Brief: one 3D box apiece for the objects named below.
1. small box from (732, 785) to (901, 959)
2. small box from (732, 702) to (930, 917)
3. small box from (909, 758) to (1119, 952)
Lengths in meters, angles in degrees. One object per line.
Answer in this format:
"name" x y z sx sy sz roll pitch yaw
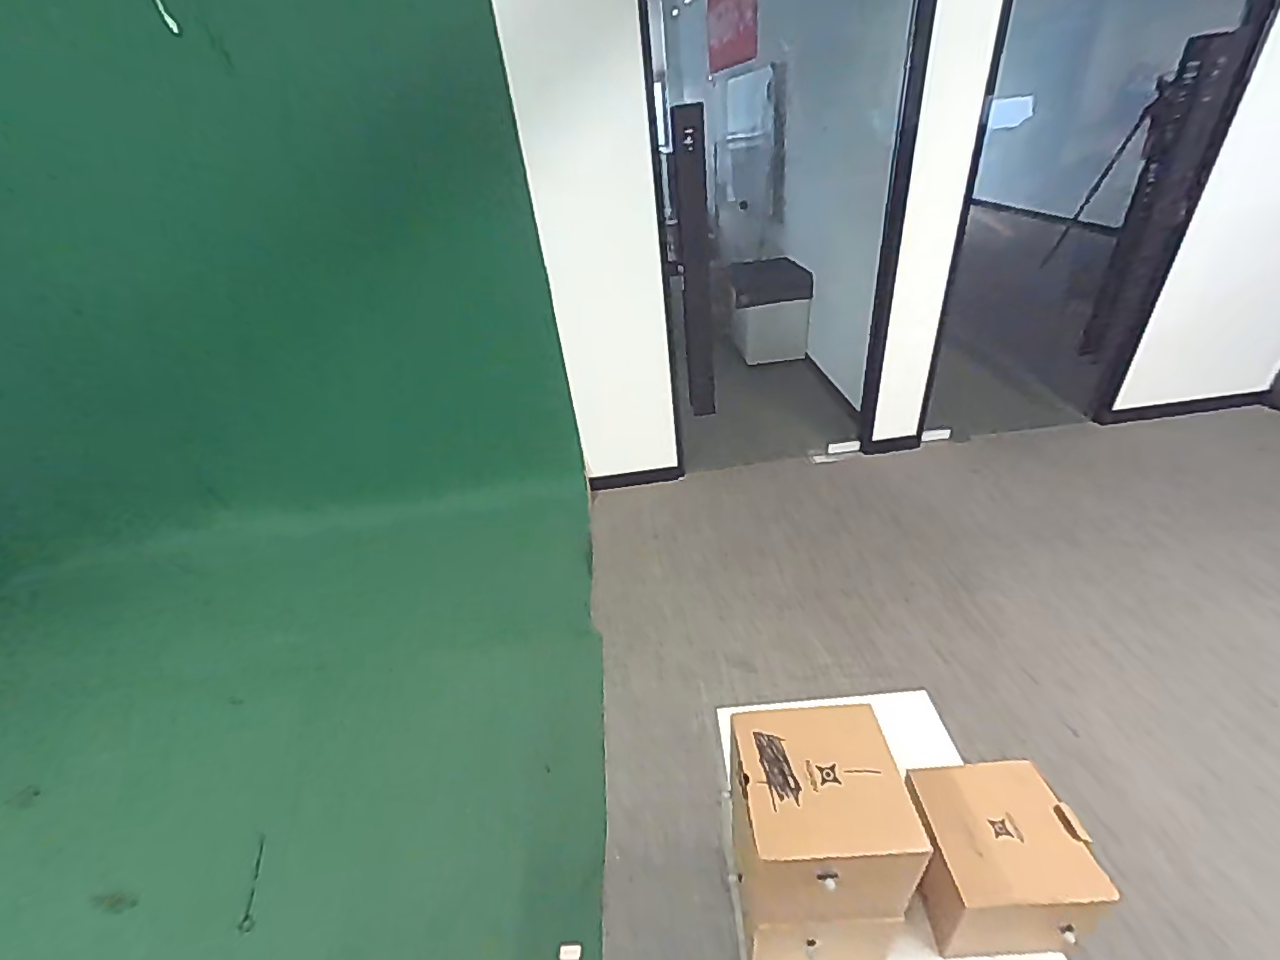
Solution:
"small box" 0.224 0.529 0.733 0.179 0.176 0.168 -5 35 3
"small box" 0.208 0.391 0.644 0.179 0.176 0.168 -4 34 1
"small box" 0.469 0.503 0.728 0.179 0.176 0.168 -7 33 4
